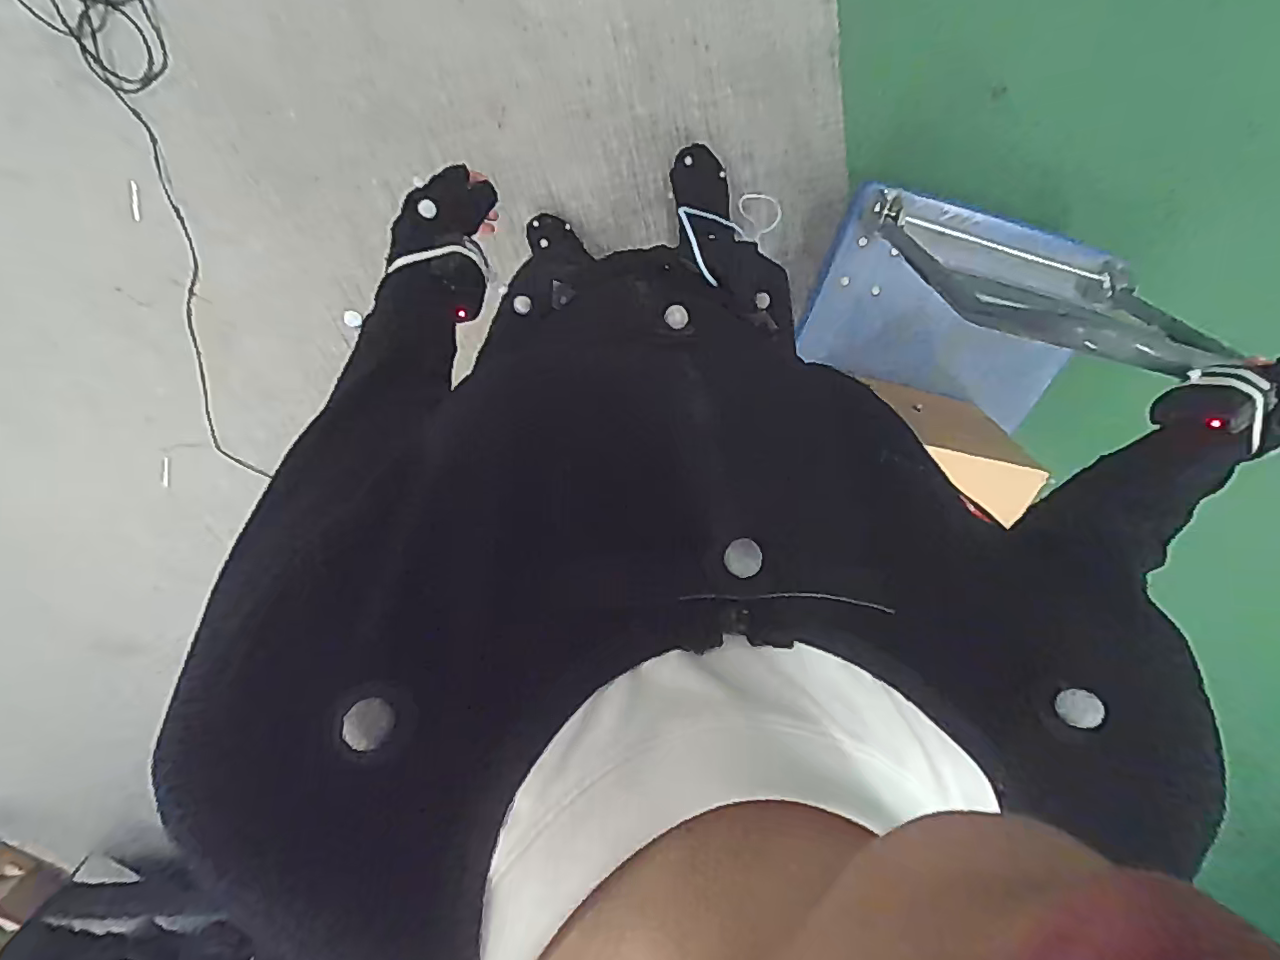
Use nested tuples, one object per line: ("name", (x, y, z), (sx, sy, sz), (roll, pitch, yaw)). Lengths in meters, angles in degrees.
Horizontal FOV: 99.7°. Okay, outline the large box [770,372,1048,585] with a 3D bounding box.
("large box", (0.540, -0.013, 1.192), (0.408, 0.320, 0.320), (11, 124, -3))
